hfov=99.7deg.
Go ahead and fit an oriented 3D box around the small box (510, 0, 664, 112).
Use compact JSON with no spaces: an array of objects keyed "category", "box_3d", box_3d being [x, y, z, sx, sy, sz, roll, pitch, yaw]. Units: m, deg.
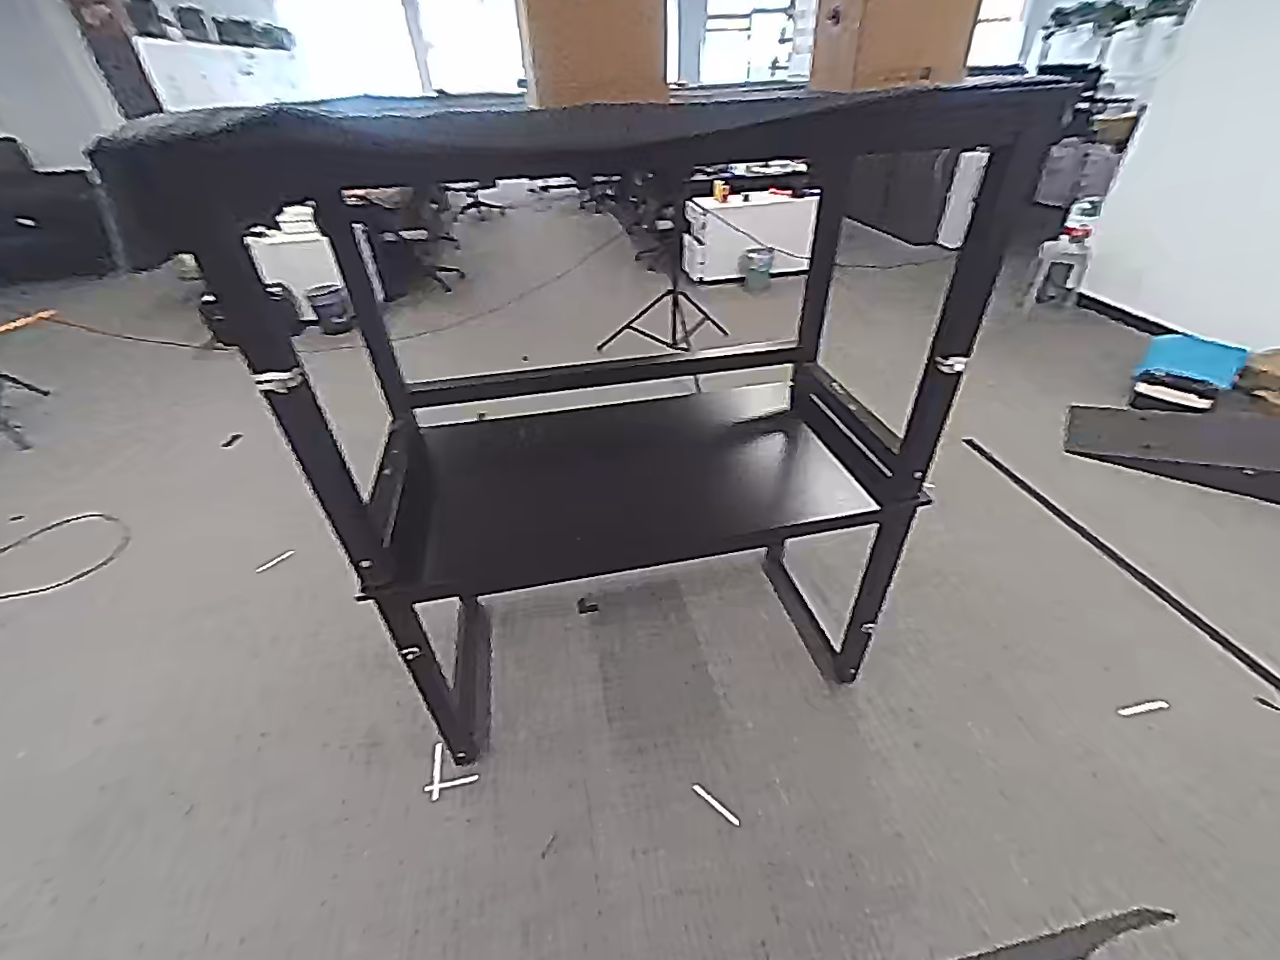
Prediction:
[{"category":"small box","box_3d":[-0.072,-0.588,0.709,0.179,0.176,0.168,-10,37,-11]}]
